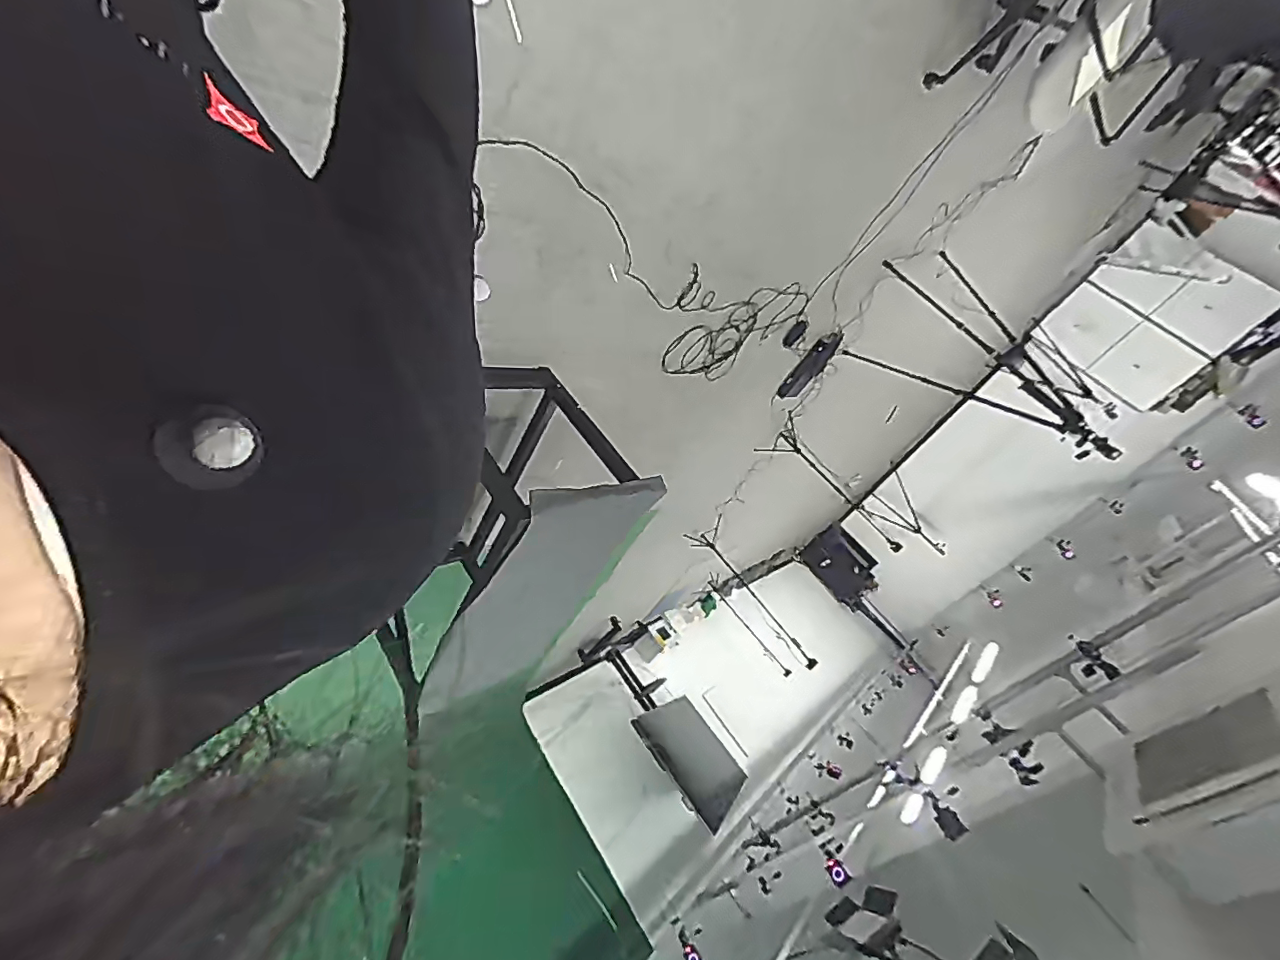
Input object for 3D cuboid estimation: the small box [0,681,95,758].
[{"bbox_3d":[-2.023,0.803,1.830,0.168,0.176,0.179,-39,157,1],"label":"small box"}]
